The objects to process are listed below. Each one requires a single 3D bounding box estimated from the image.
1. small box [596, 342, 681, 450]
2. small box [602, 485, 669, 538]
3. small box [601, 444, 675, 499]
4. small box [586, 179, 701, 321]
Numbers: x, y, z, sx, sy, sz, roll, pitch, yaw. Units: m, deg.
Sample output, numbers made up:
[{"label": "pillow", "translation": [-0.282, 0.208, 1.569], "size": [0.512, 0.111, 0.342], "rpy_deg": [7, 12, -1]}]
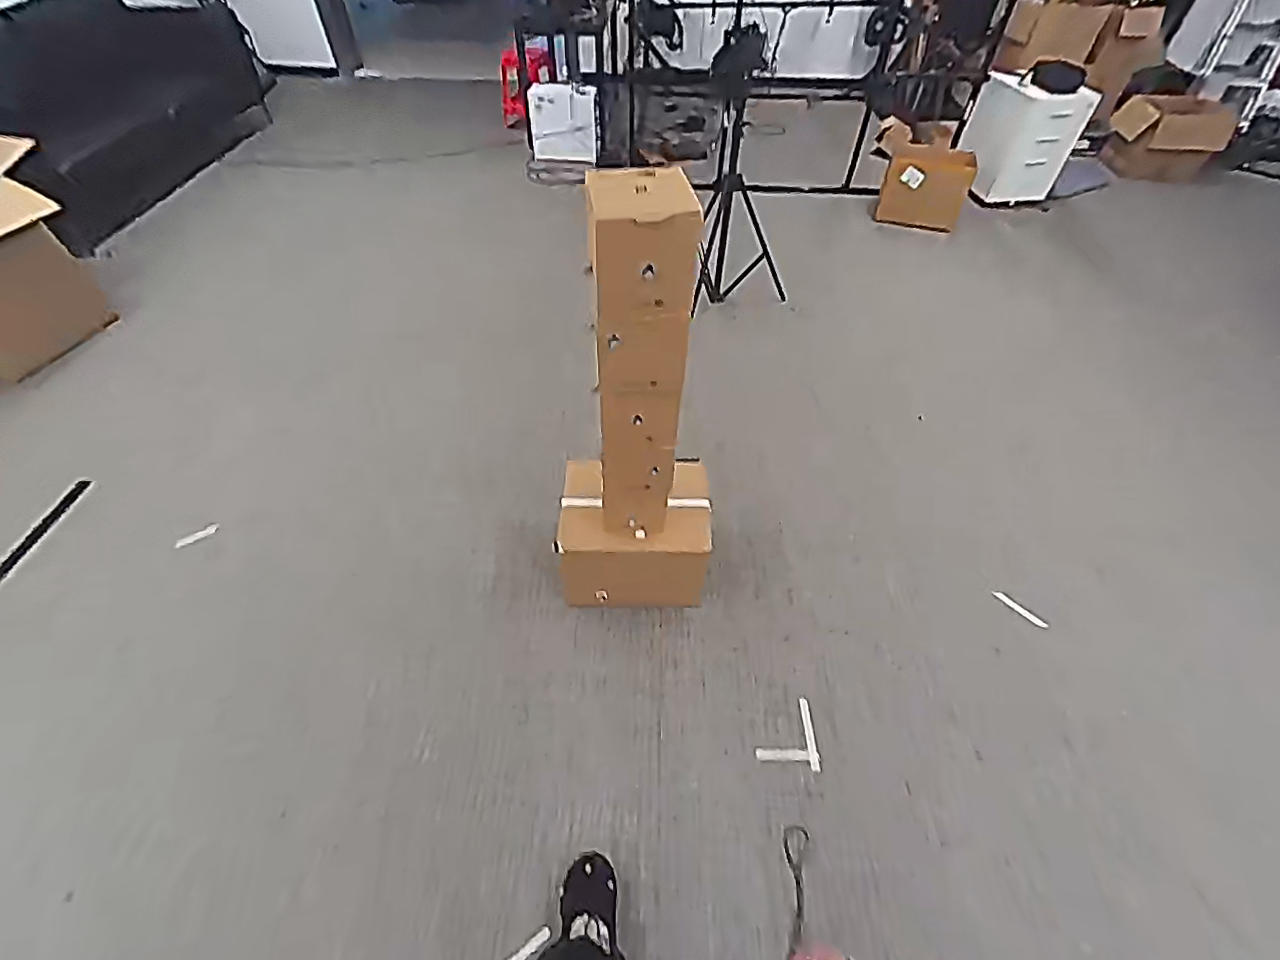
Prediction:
[{"label": "small box", "translation": [-0.007, -0.177, 1.173], "size": [0.168, 0.176, 0.179], "rpy_deg": [-3, 50, -5]}, {"label": "small box", "translation": [-0.013, 0.034, 1.423], "size": [0.168, 0.176, 0.179], "rpy_deg": [0, 50, -1]}, {"label": "small box", "translation": [-0.006, -0.067, 1.296], "size": [0.168, 0.176, 0.179], "rpy_deg": [0, 49, -3]}, {"label": "small box", "translation": [0.000, -0.386, 0.921], "size": [0.168, 0.176, 0.179], "rpy_deg": [-6, 51, -7]}]
